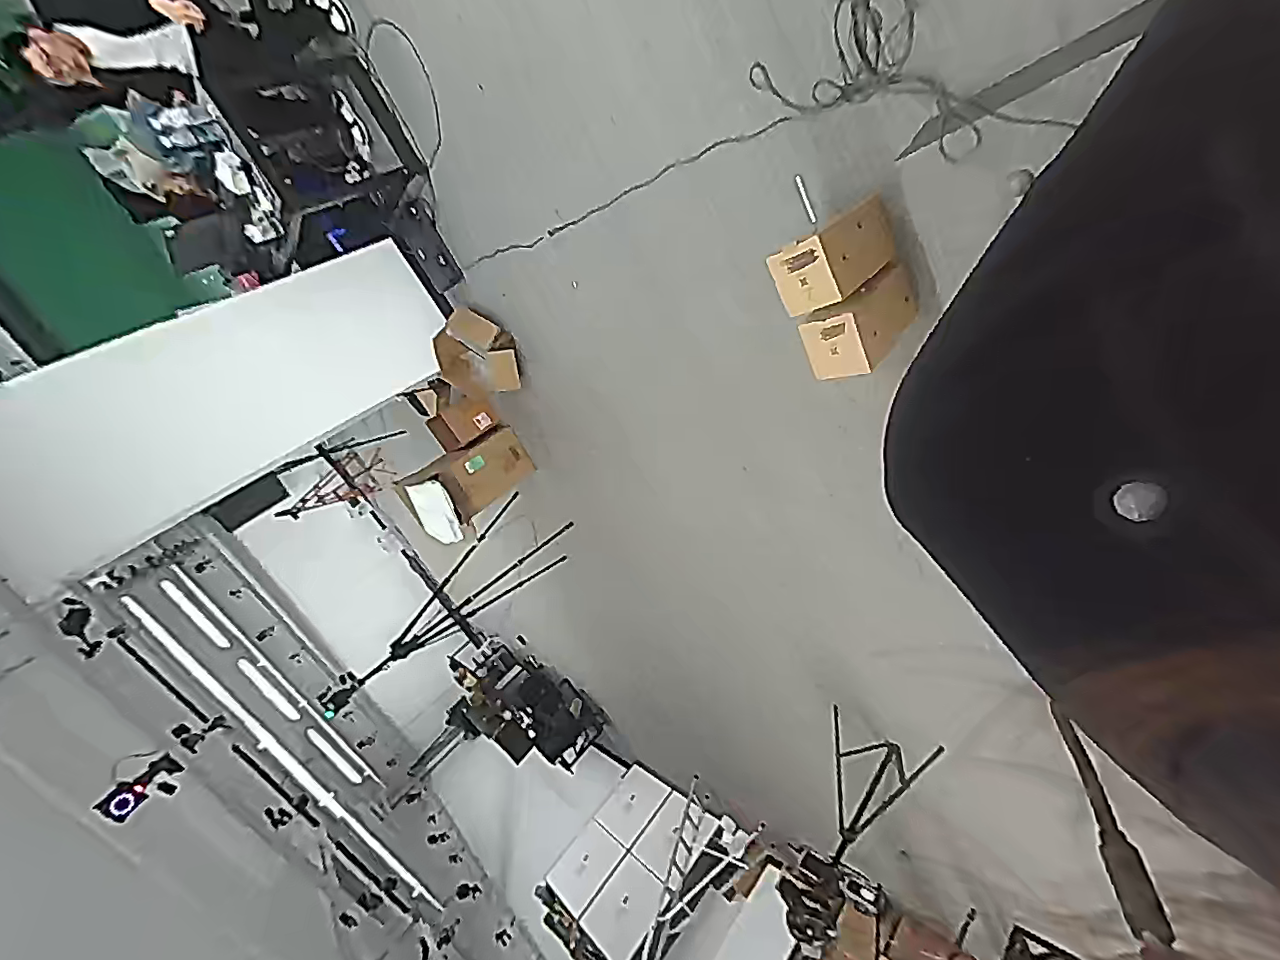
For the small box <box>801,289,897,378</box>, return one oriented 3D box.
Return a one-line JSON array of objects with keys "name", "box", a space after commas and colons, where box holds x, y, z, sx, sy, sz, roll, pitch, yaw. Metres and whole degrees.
[{"name": "small box", "box": [0.579, -0.406, 1.491, 0.168, 0.176, 0.179, 4, 131, 52]}]
